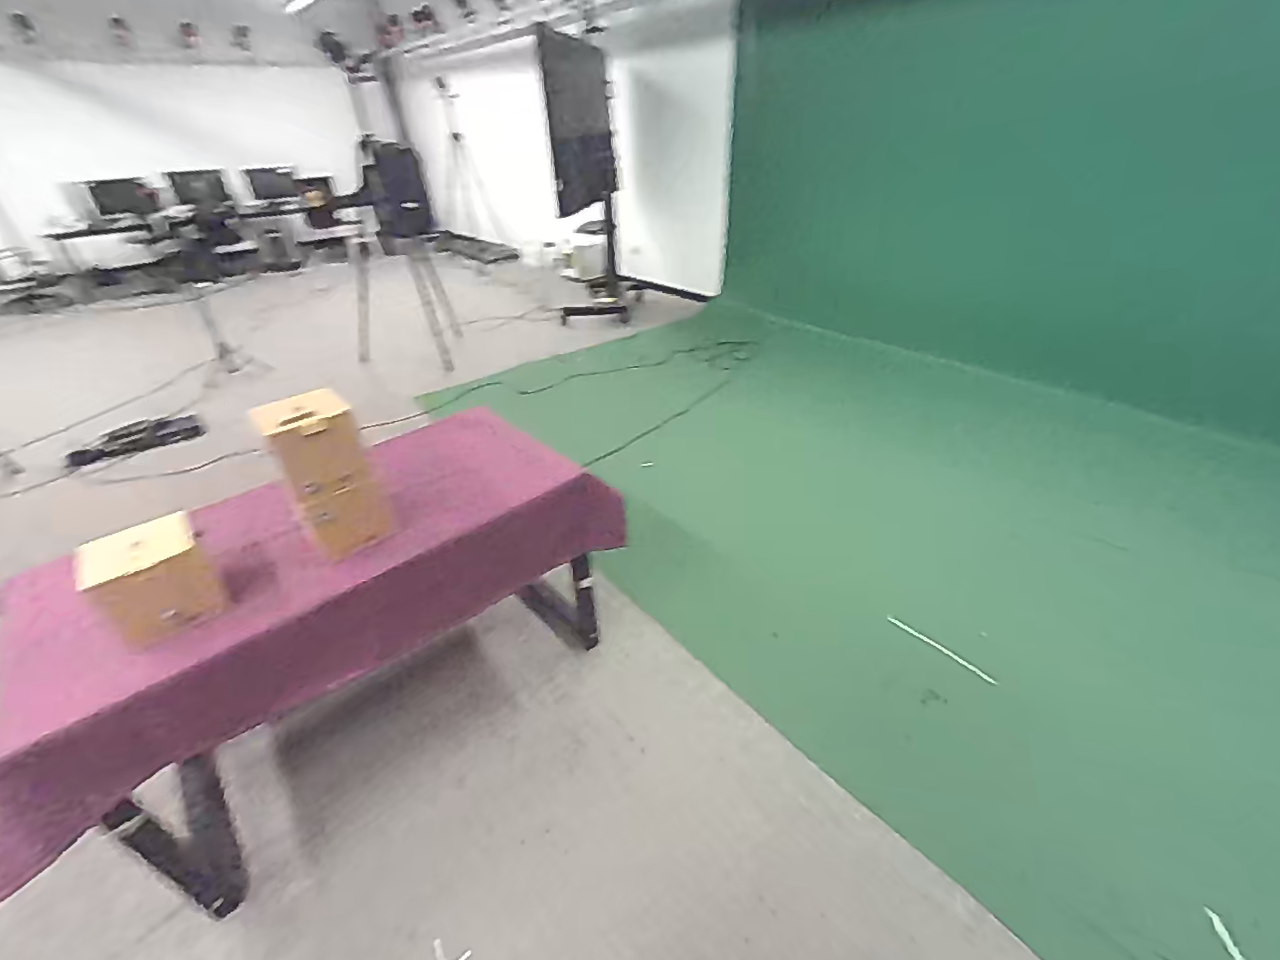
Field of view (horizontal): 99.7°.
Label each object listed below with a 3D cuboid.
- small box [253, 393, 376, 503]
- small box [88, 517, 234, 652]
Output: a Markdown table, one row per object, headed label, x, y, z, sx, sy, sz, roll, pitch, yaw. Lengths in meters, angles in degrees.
| label | x | y | z | sx | sy | sz | roll | pitch | yaw |
| --- | --- | --- | --- | --- | --- | --- | --- | --- | --- |
| small box | -0.711 | -0.069 | 1.193 | 0.168 | 0.176 | 0.179 | -28 | 39 | -33 |
| small box | -0.957 | 0.208 | 1.089 | 0.168 | 0.176 | 0.179 | -28 | 40 | -32 |
